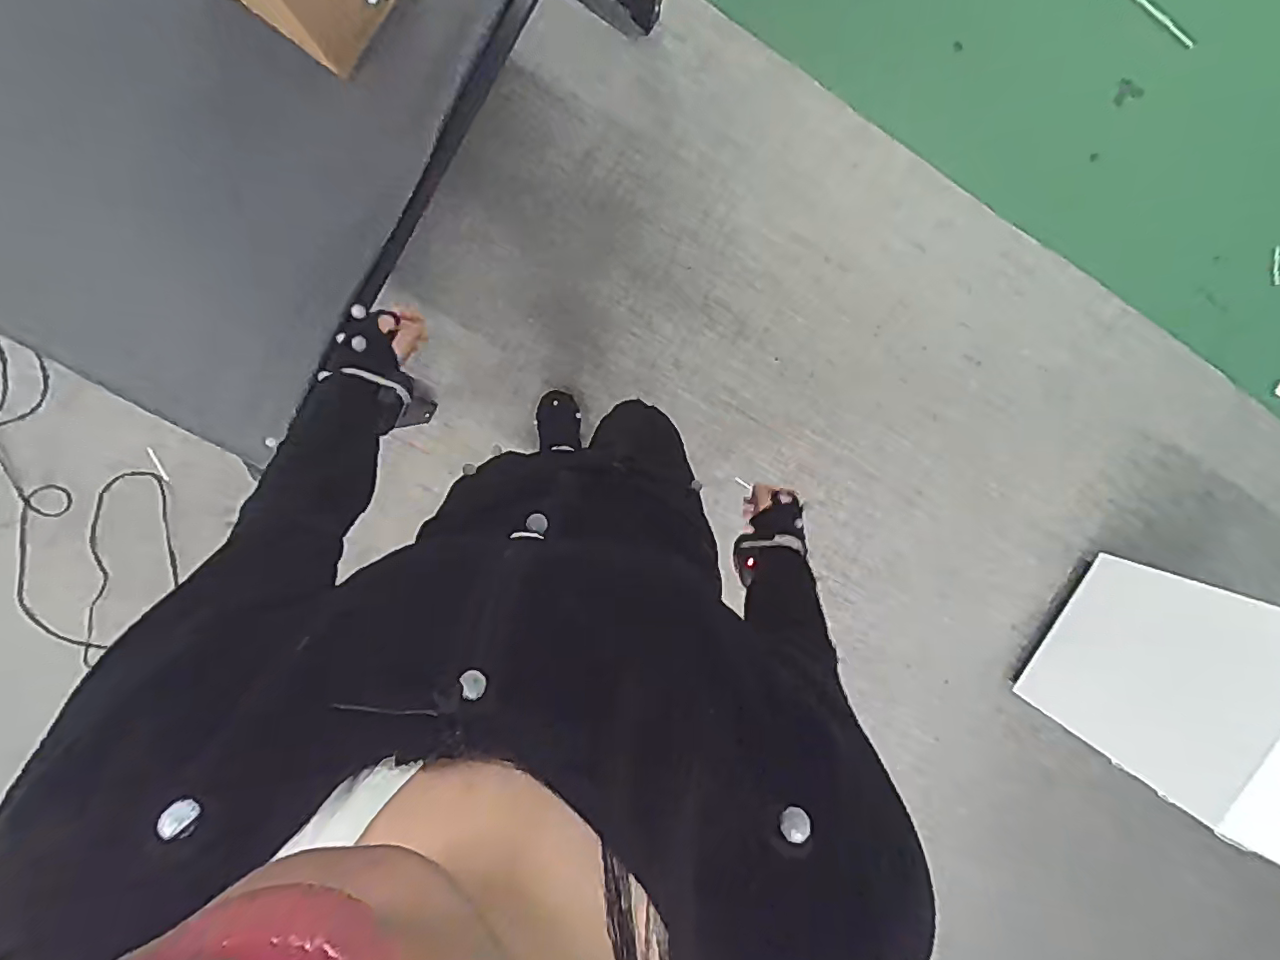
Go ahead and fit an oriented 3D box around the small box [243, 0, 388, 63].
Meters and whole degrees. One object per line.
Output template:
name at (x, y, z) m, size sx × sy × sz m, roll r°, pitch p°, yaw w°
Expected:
small box at (-0.370, -0.582, 0.540) m, size 0.179 × 0.176 × 0.168 m, roll 35°, pitch 94°, yaw -9°
